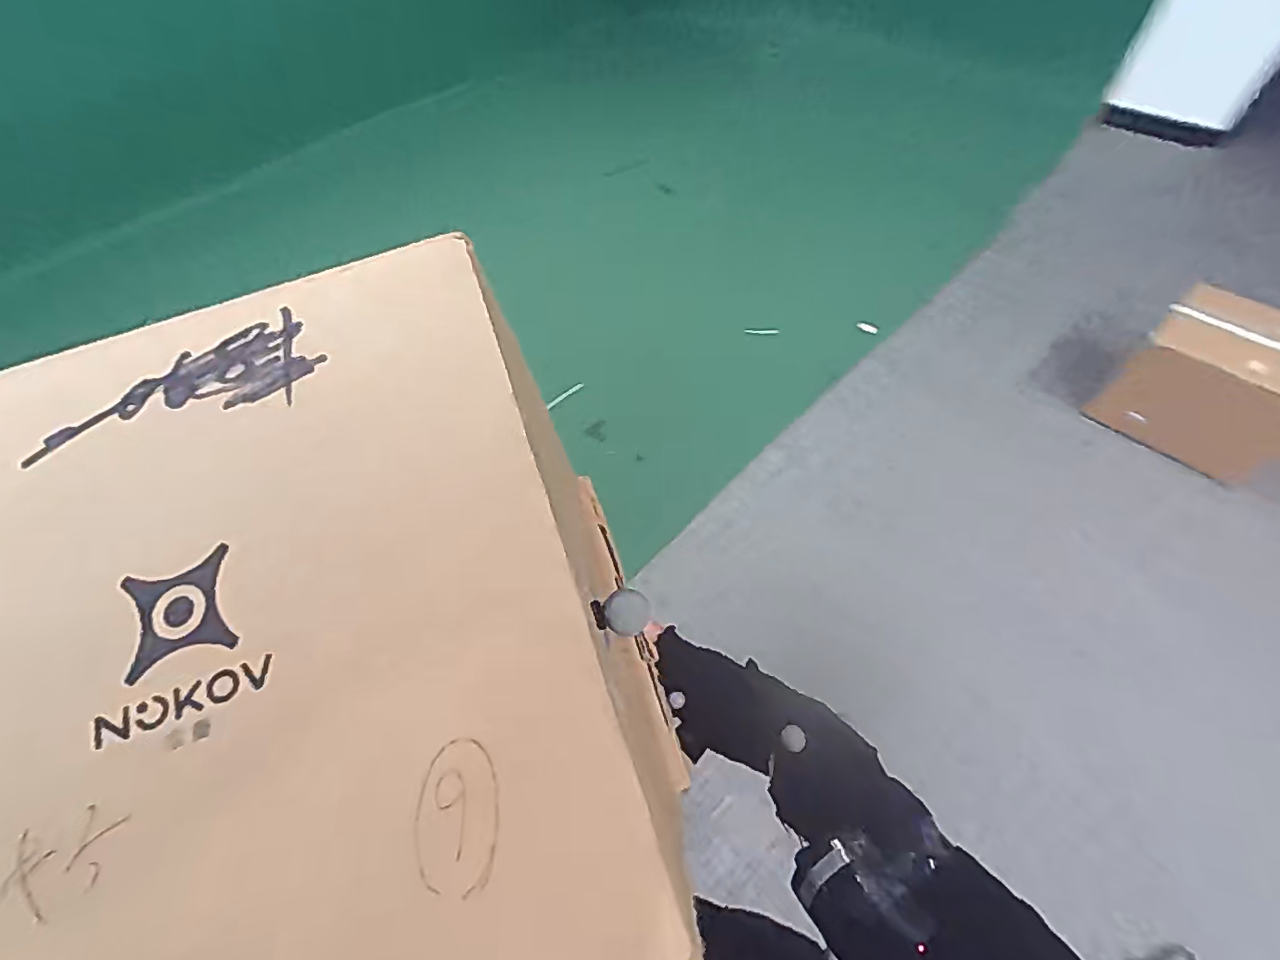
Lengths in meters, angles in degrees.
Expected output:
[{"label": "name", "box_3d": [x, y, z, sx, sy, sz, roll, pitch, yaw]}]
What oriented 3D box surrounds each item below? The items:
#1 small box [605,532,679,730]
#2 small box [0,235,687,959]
[{"label": "small box", "box_3d": [-0.072, 0.168, 0.503, 0.179, 0.176, 0.168, -19, 72, -5]}, {"label": "small box", "box_3d": [-0.089, 0.060, 0.194, 0.168, 0.176, 0.179, -20, 72, -3]}]
